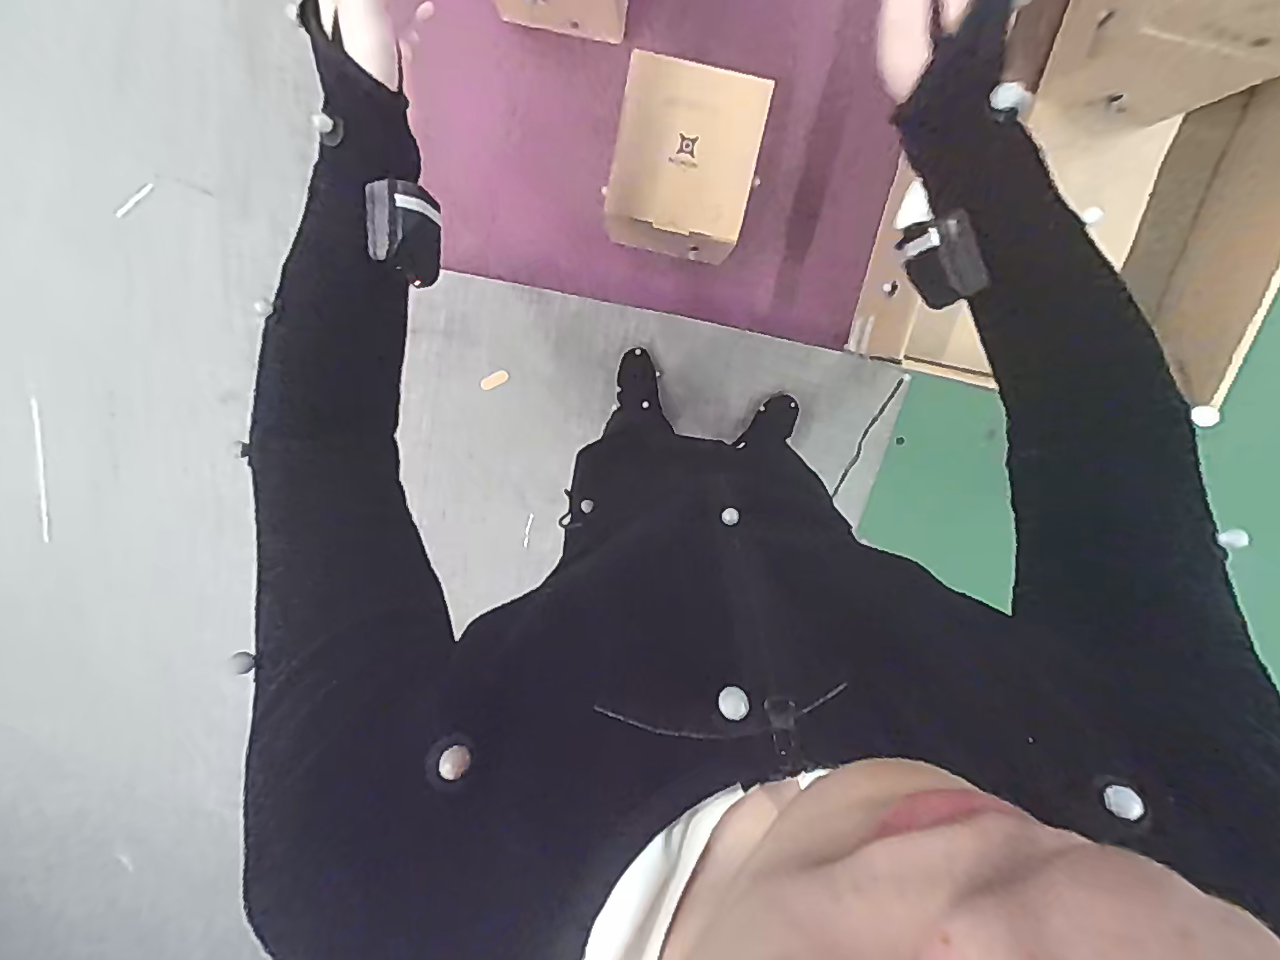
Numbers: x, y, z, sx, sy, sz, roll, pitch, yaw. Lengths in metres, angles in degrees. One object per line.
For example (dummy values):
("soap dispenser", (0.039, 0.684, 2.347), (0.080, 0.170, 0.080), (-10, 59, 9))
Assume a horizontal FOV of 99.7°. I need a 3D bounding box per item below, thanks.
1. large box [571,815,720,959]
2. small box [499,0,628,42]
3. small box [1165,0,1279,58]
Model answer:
("large box", (0.020, 1.442, 1.851), (0.408, 0.320, 0.320), (-20, 104, 5))
("small box", (-0.092, -0.664, 0.634), (0.168, 0.176, 0.179), (10, 104, -1))
("small box", (0.594, -0.490, 0.437), (0.168, 0.176, 0.179), (14, 106, -2))
